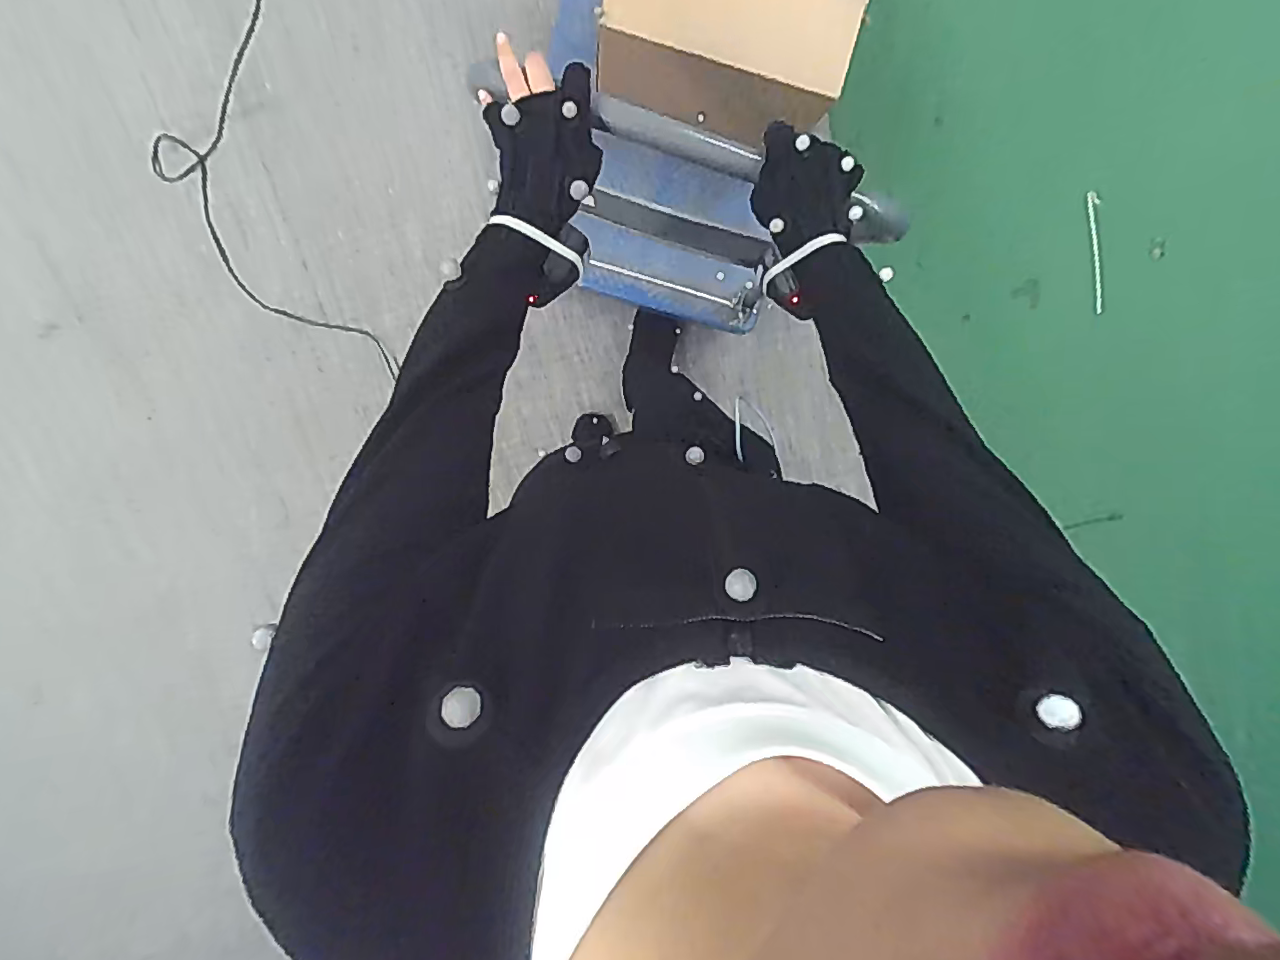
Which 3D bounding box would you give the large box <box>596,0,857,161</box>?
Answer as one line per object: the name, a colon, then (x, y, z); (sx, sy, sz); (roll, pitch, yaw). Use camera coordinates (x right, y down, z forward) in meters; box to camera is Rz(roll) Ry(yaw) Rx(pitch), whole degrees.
large box: (0.147, -0.843, 0.985); (0.408, 0.320, 0.320); (12, 100, -7)
